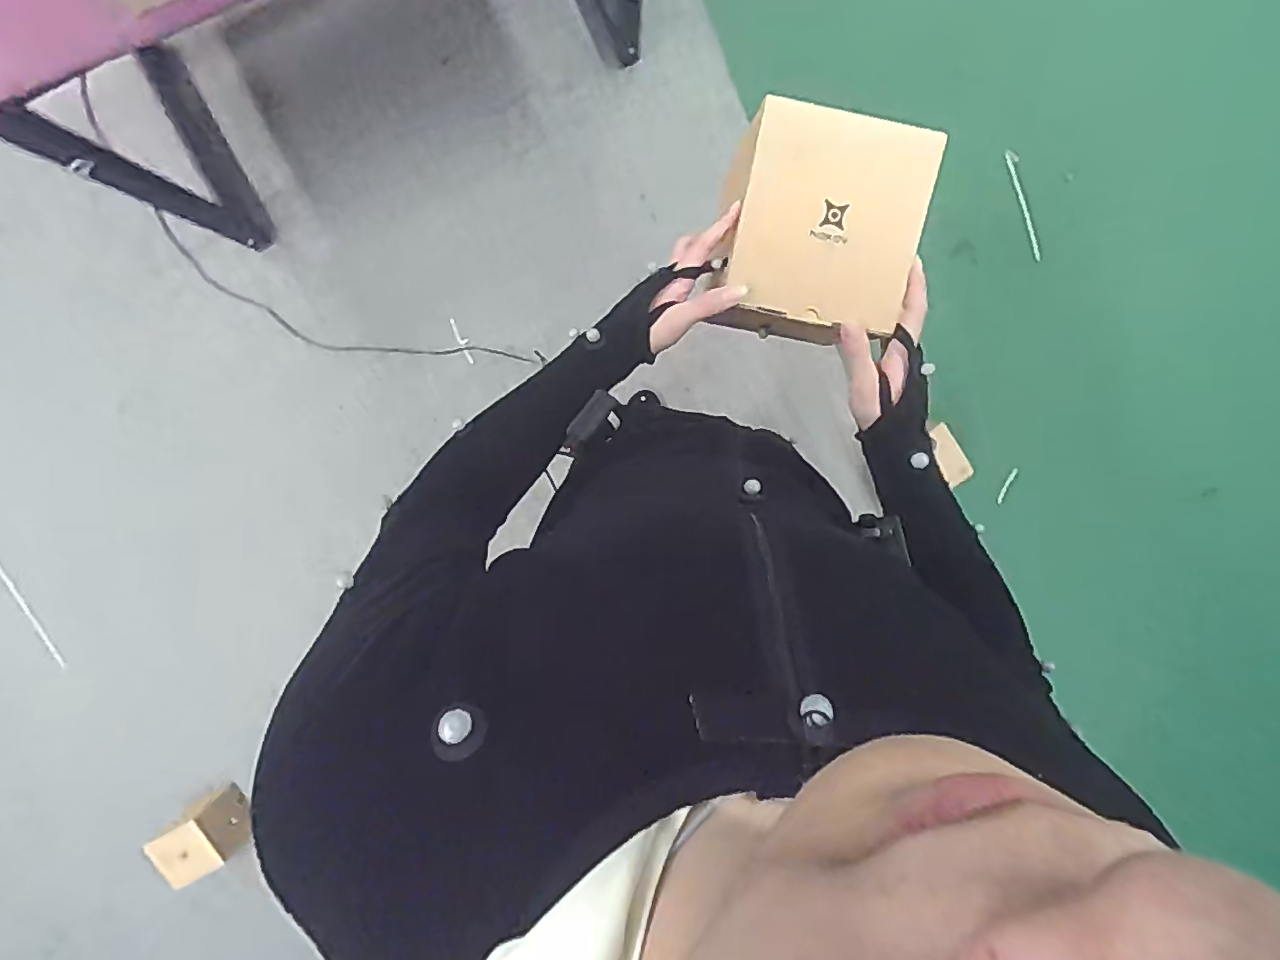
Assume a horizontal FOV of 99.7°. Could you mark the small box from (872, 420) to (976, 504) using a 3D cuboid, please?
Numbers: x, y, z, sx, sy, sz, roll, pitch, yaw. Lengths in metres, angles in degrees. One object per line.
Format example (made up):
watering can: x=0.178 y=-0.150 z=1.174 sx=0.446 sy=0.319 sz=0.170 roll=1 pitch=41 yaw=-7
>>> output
small box: x=0.810 y=-0.056 z=1.561 sx=0.168 sy=0.176 sz=0.179 roll=-35 pitch=97 yaw=2

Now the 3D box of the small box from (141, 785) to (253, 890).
small box: x=-1.316 y=1.065 z=1.629 sx=0.179 sy=0.176 sz=0.168 roll=-27 pitch=97 yaw=2
